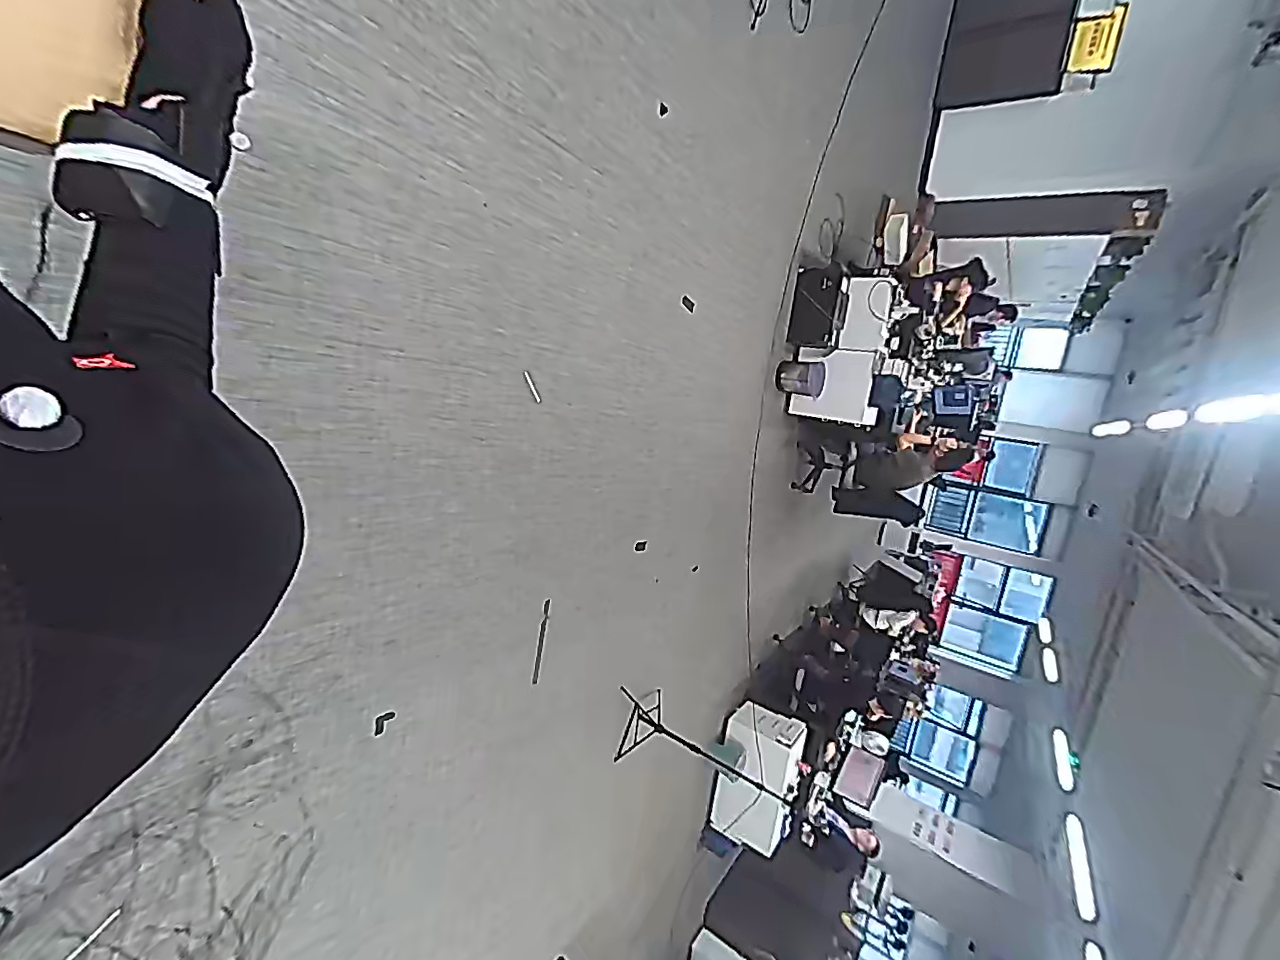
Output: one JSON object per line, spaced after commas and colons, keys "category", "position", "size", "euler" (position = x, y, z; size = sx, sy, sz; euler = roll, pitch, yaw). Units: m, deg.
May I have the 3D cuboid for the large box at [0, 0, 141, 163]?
{"category": "large box", "position": [-0.583, -0.427, 0.291], "size": [0.408, 0.320, 0.320], "euler": [-5, 115, -59]}
